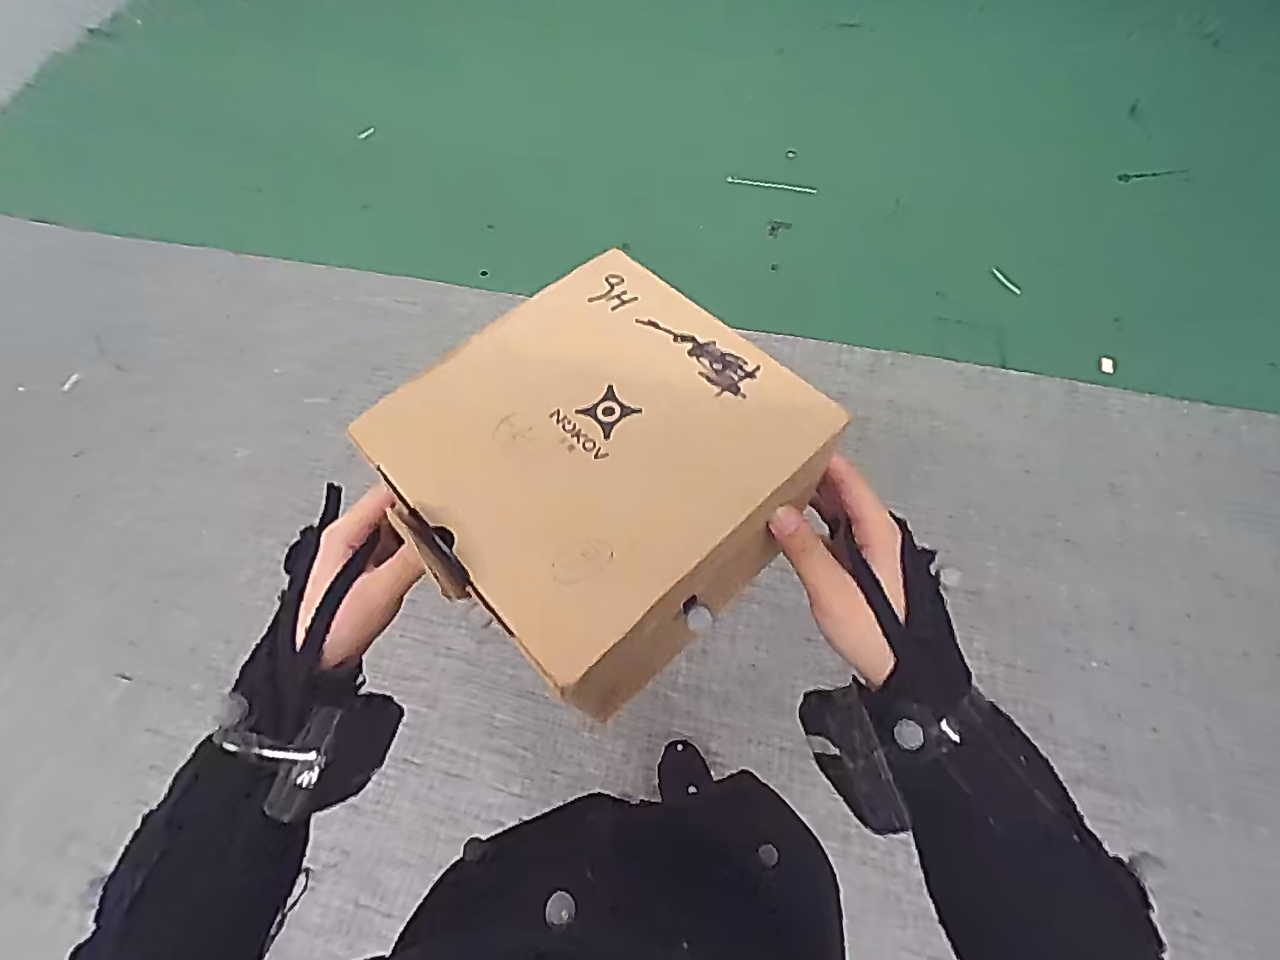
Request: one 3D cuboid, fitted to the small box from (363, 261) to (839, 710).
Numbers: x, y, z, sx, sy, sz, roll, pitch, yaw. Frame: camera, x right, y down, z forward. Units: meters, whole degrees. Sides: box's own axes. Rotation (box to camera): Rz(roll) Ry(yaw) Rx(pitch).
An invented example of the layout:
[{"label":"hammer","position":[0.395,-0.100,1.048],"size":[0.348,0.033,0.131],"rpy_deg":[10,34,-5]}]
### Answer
[{"label":"small box","position":[-0.016,0.015,0.329],"size":[0.179,0.176,0.168],"rpy_deg":[-40,67,-16]}]
